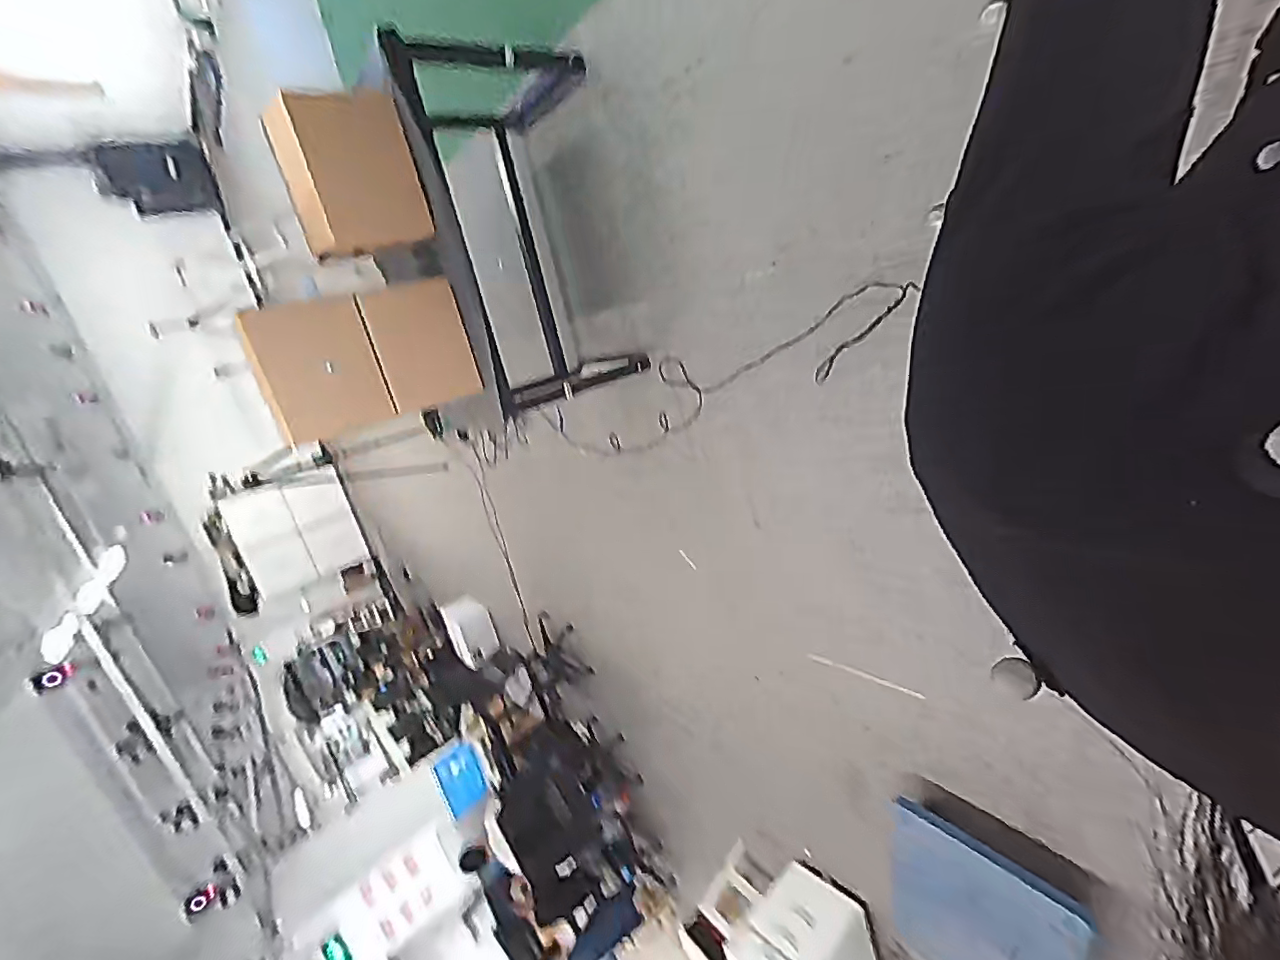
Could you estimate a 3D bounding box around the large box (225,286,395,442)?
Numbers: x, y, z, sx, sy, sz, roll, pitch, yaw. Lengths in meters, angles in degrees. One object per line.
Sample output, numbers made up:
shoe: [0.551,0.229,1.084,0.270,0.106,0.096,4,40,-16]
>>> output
large box: [-1.041,-0.360,1.719,0.320,0.320,0.408,8,118,50]
